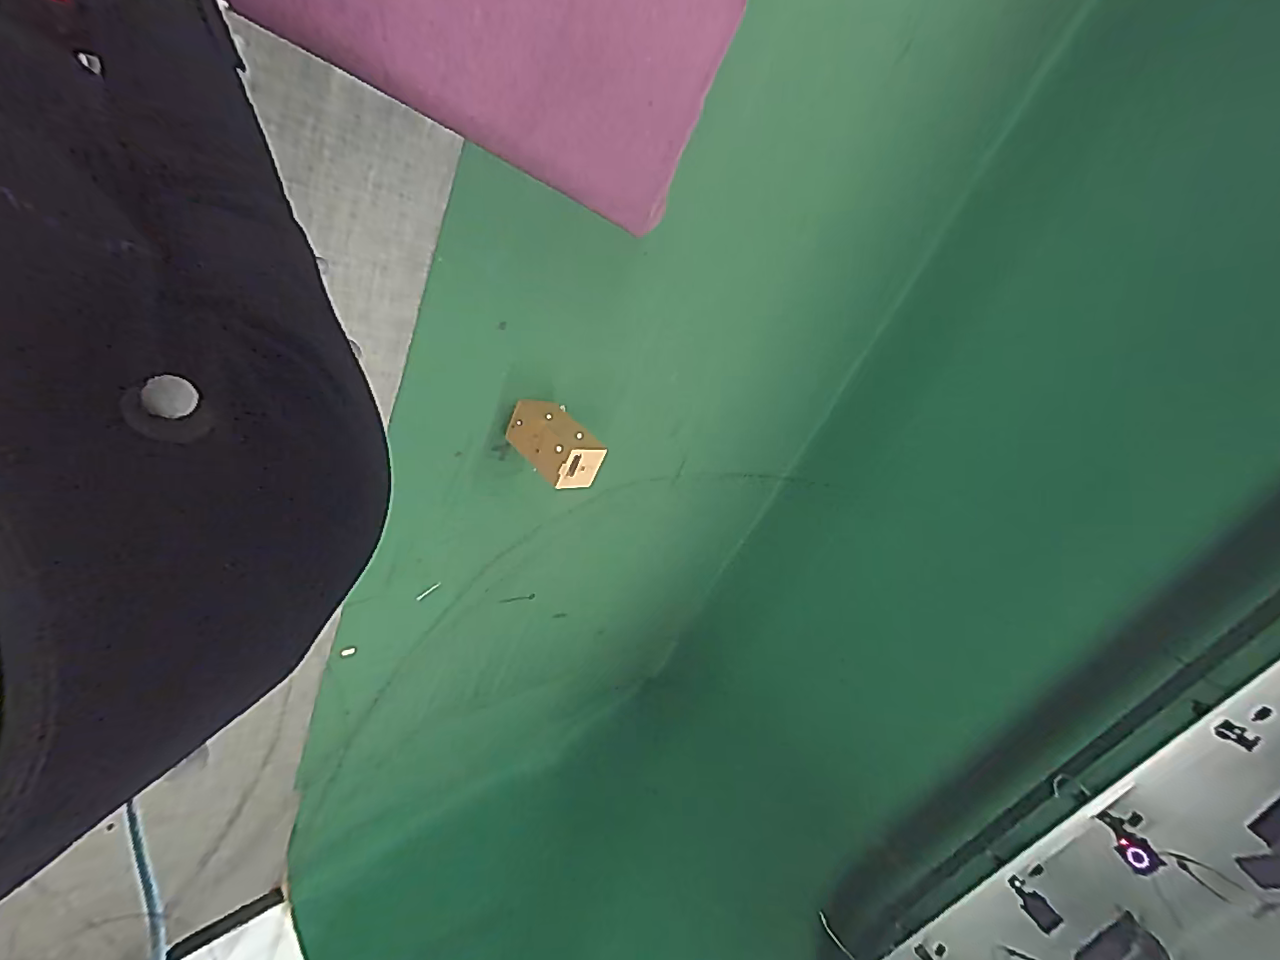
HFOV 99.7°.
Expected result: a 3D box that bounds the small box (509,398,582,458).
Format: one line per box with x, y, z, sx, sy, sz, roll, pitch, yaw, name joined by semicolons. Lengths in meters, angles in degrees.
-0.357;-0.195;2.023;0.179;0.176;0.168;-3;127;-49;small box
